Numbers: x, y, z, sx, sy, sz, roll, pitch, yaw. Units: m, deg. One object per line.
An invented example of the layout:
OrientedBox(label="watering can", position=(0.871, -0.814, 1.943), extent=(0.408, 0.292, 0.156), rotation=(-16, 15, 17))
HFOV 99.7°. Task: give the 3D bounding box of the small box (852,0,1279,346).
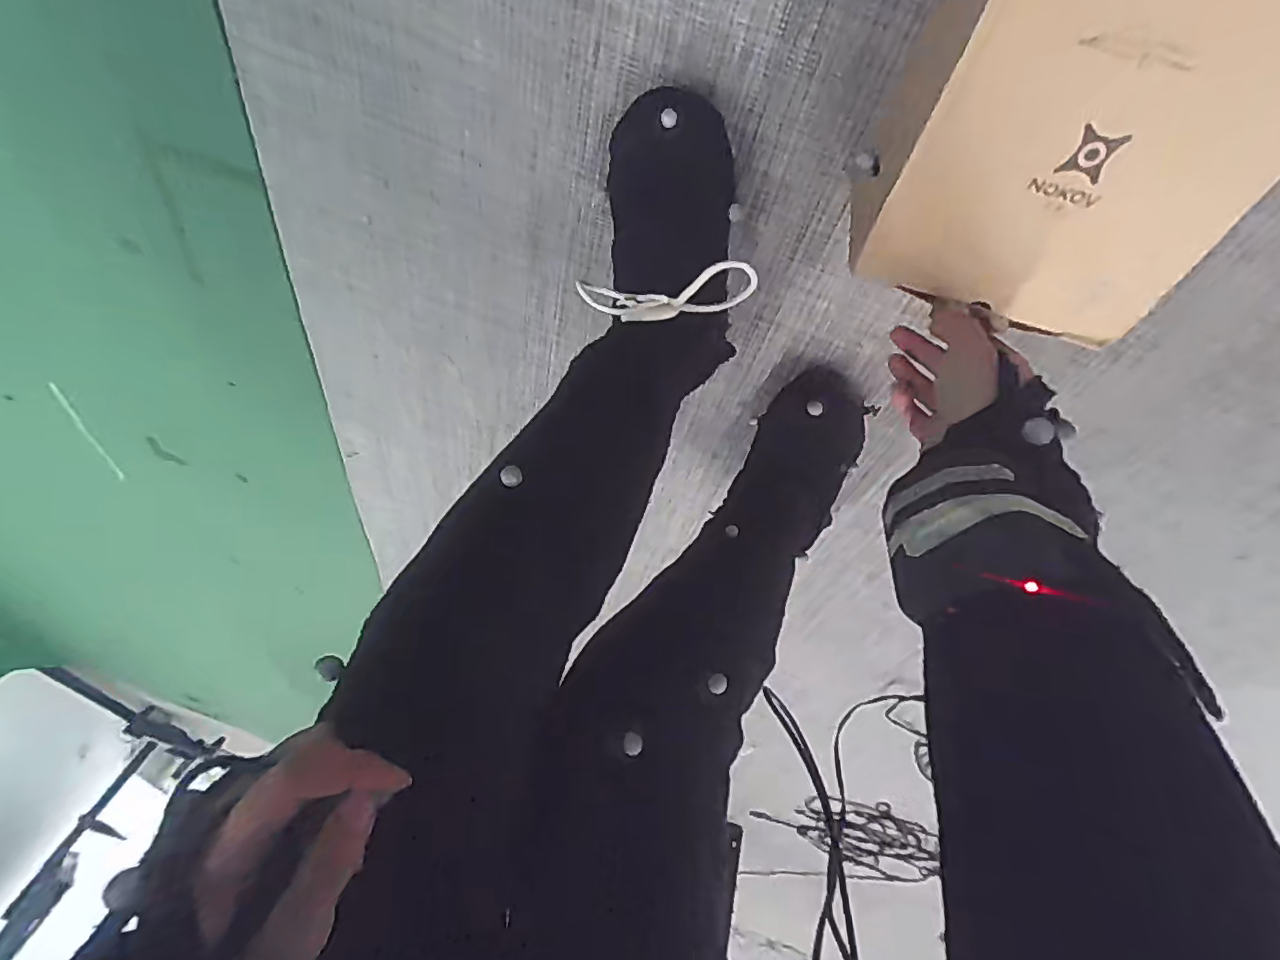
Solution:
OrientedBox(label="small box", position=(0.246, -0.217, 0.323), extent=(0.168, 0.176, 0.179), rotation=(18, 138, 3))
